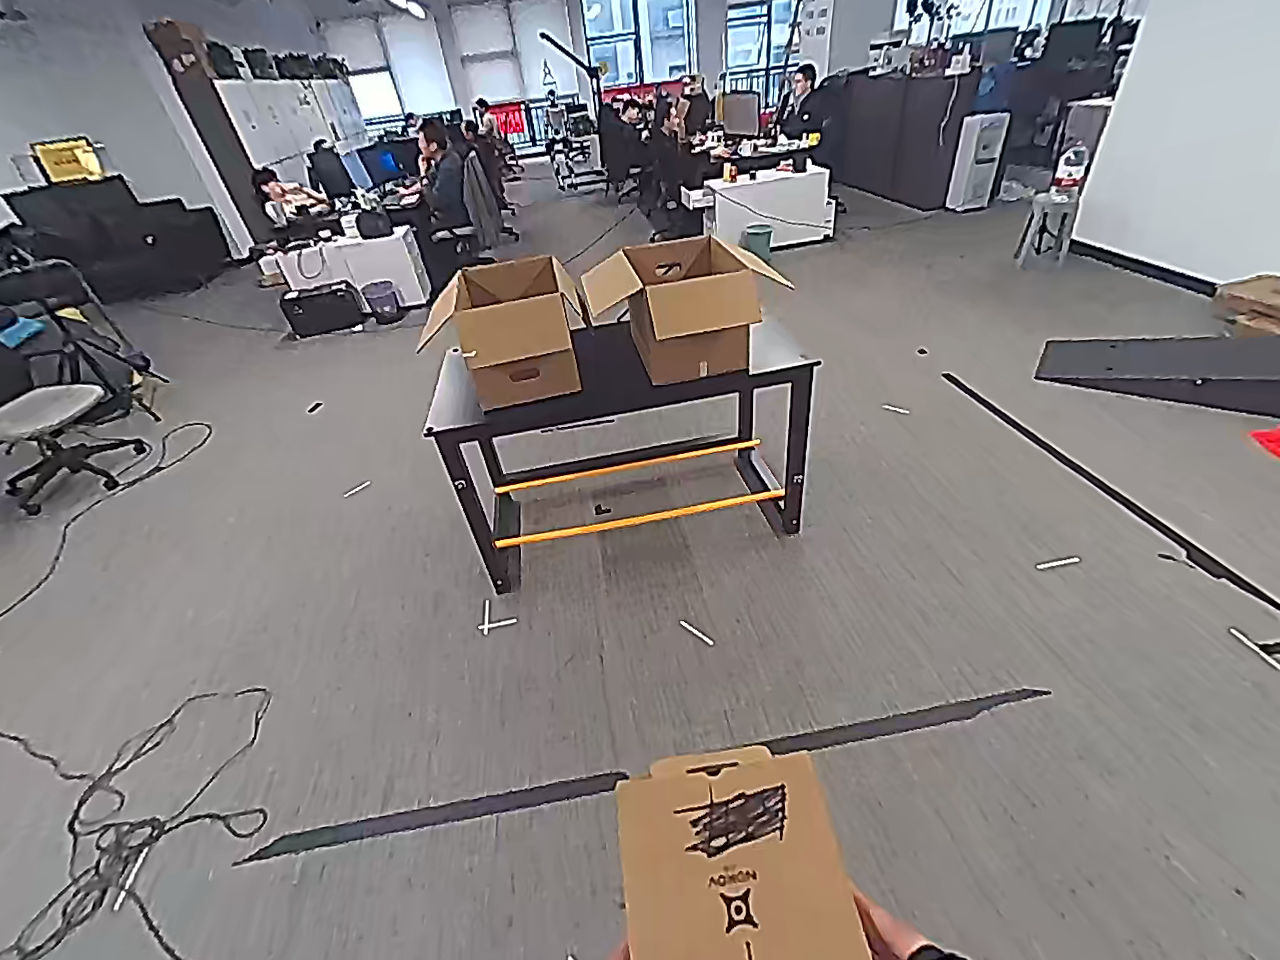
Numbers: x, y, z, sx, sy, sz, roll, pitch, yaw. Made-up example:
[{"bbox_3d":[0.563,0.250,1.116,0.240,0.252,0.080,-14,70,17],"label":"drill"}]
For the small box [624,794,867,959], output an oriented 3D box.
[{"bbox_3d":[0.081,0.384,0.443,0.168,0.176,0.179,-9,49,-1],"label":"small box"}]
